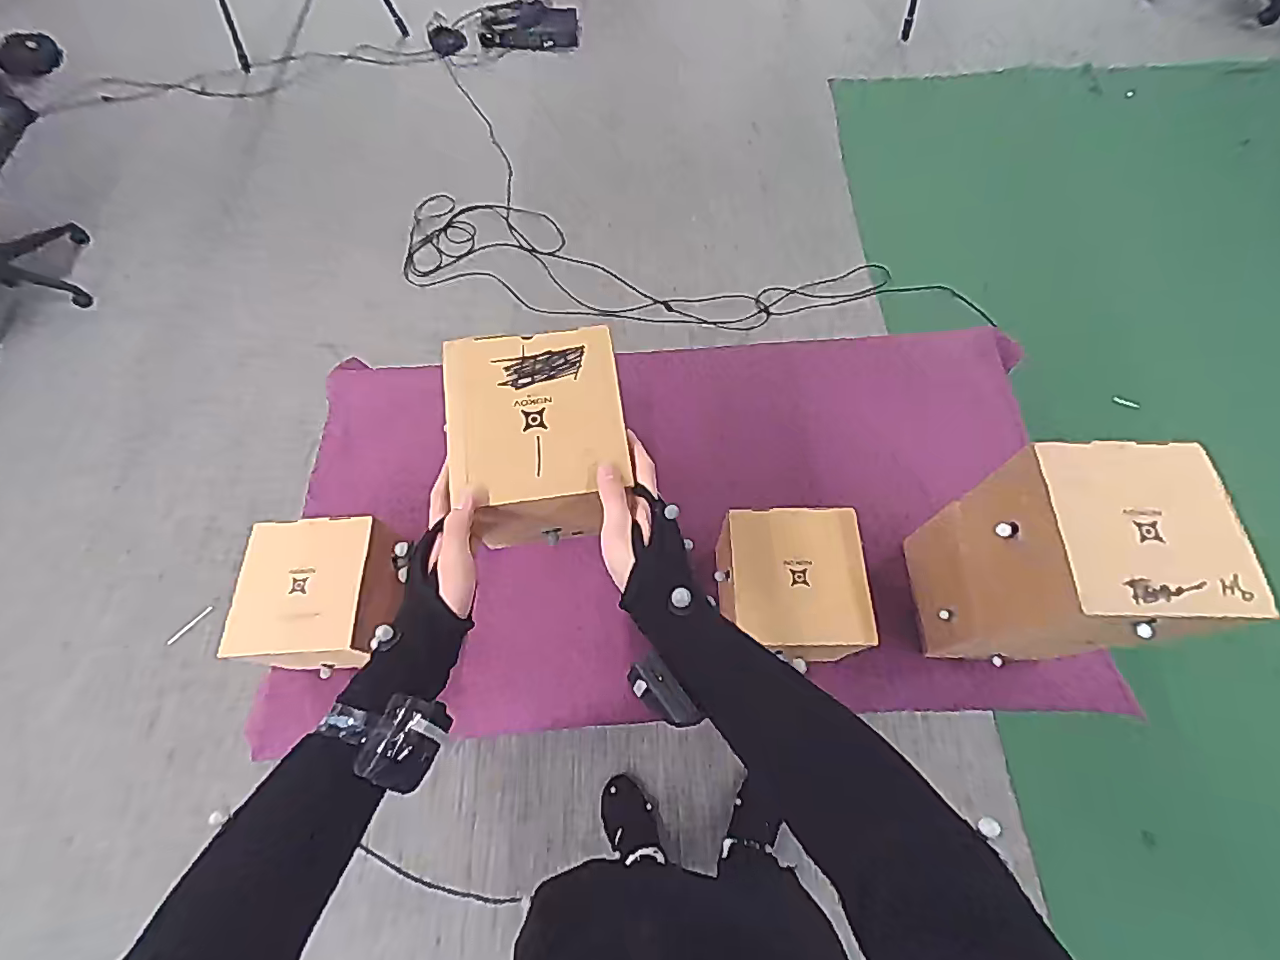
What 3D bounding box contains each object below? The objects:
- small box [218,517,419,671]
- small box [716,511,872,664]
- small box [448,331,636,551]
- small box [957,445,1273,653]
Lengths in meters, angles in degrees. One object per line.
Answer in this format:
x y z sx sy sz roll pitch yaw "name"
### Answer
-0.431 0.165 0.761 0.168 0.176 0.179 -3 65 1 "small box"
0.195 0.154 0.741 0.168 0.176 0.179 -1 64 2 "small box"
-0.100 -0.033 0.583 0.168 0.176 0.179 -7 72 -5 "small box"
0.472 0.079 0.578 0.168 0.176 0.179 0 64 4 "small box"
